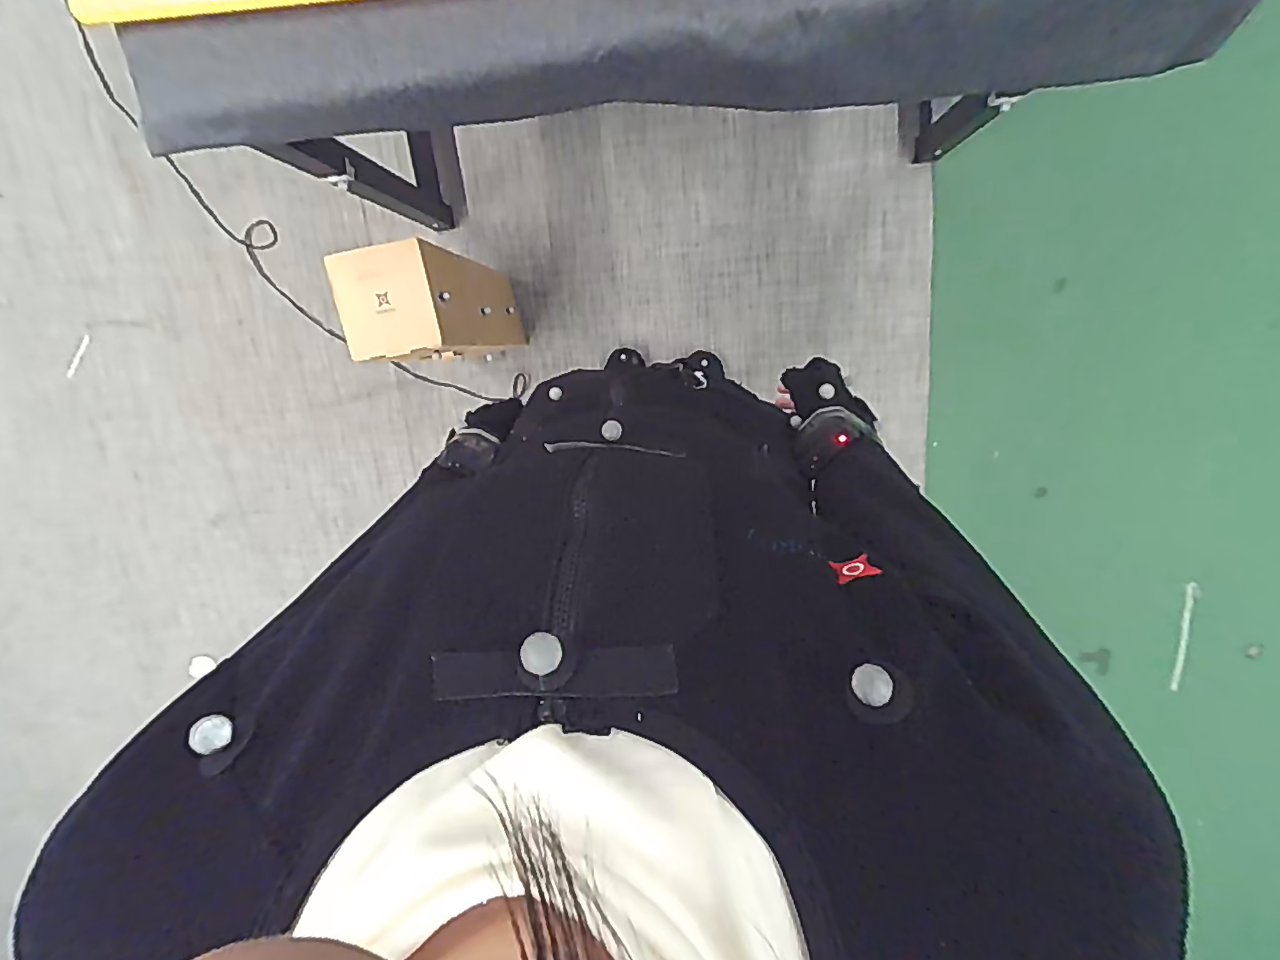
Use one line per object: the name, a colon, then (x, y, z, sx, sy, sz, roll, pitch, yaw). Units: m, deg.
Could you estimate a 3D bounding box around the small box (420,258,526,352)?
small box: (-0.388, -0.407, 1.286, 0.168, 0.176, 0.179, -12, 104, 8)
